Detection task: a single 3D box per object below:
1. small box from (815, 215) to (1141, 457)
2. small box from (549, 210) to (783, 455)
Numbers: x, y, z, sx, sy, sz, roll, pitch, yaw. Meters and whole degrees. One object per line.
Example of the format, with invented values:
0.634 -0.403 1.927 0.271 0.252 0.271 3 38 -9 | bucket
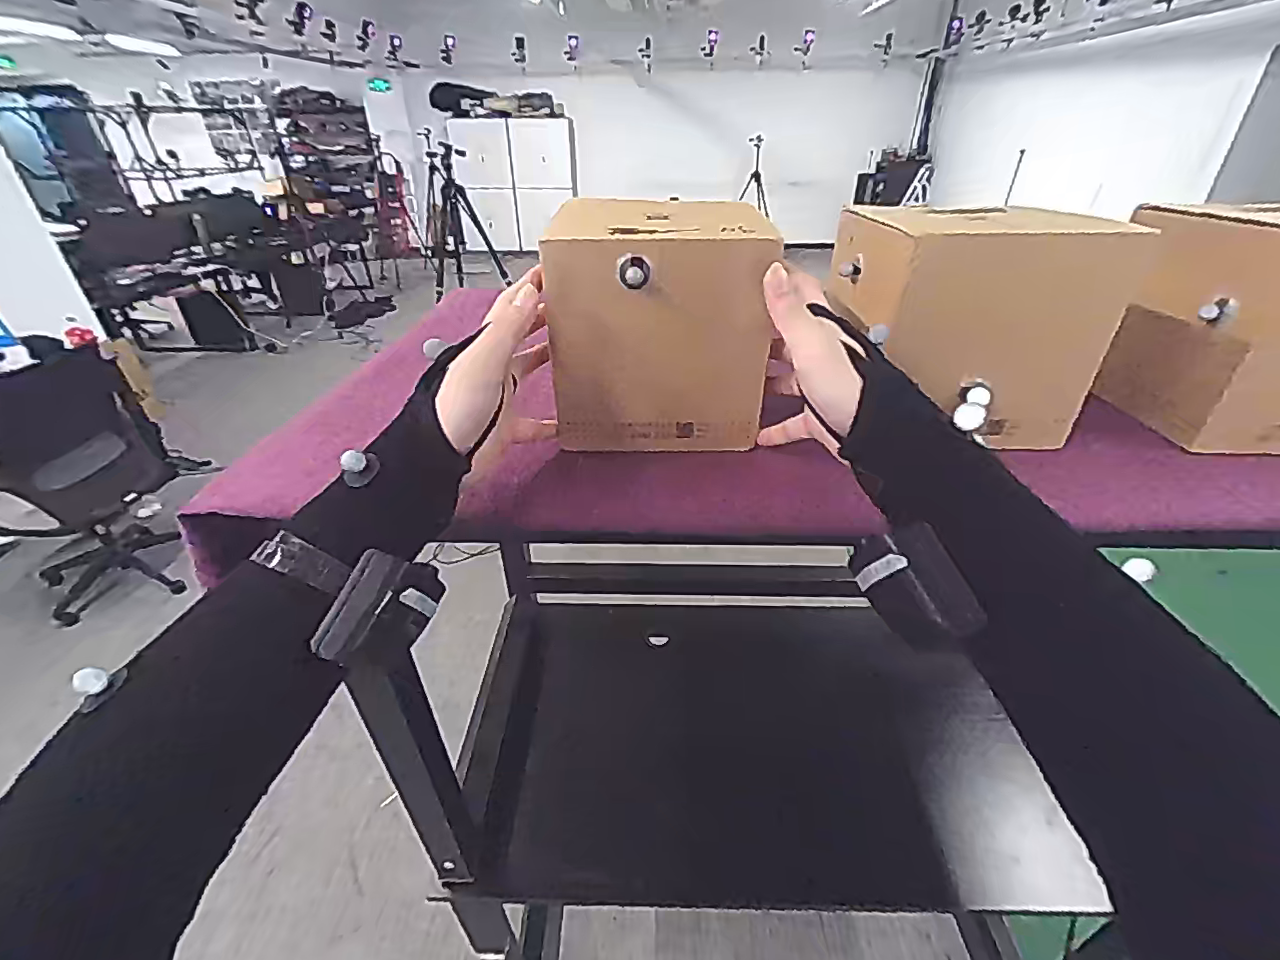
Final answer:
0.270 -0.136 0.490 0.168 0.176 0.179 1 33 2 | small box
0.020 -0.137 0.484 0.168 0.176 0.179 -1 34 1 | small box
